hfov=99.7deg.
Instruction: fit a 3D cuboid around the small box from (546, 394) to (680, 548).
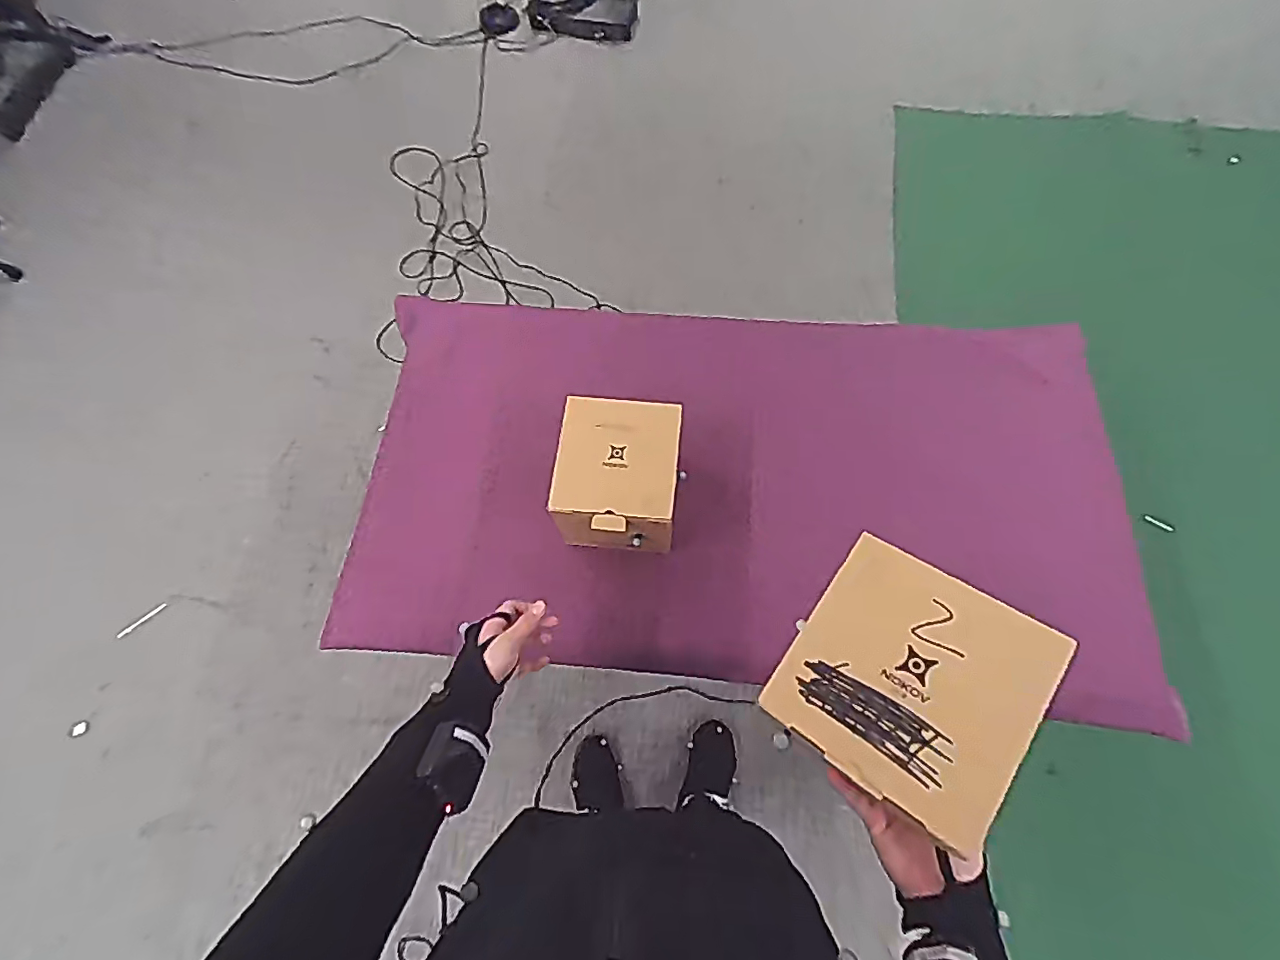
[{"bbox_3d":[-0.031,-0.006,0.809,0.168,0.176,0.179,6,68,4],"label":"small box"}]
